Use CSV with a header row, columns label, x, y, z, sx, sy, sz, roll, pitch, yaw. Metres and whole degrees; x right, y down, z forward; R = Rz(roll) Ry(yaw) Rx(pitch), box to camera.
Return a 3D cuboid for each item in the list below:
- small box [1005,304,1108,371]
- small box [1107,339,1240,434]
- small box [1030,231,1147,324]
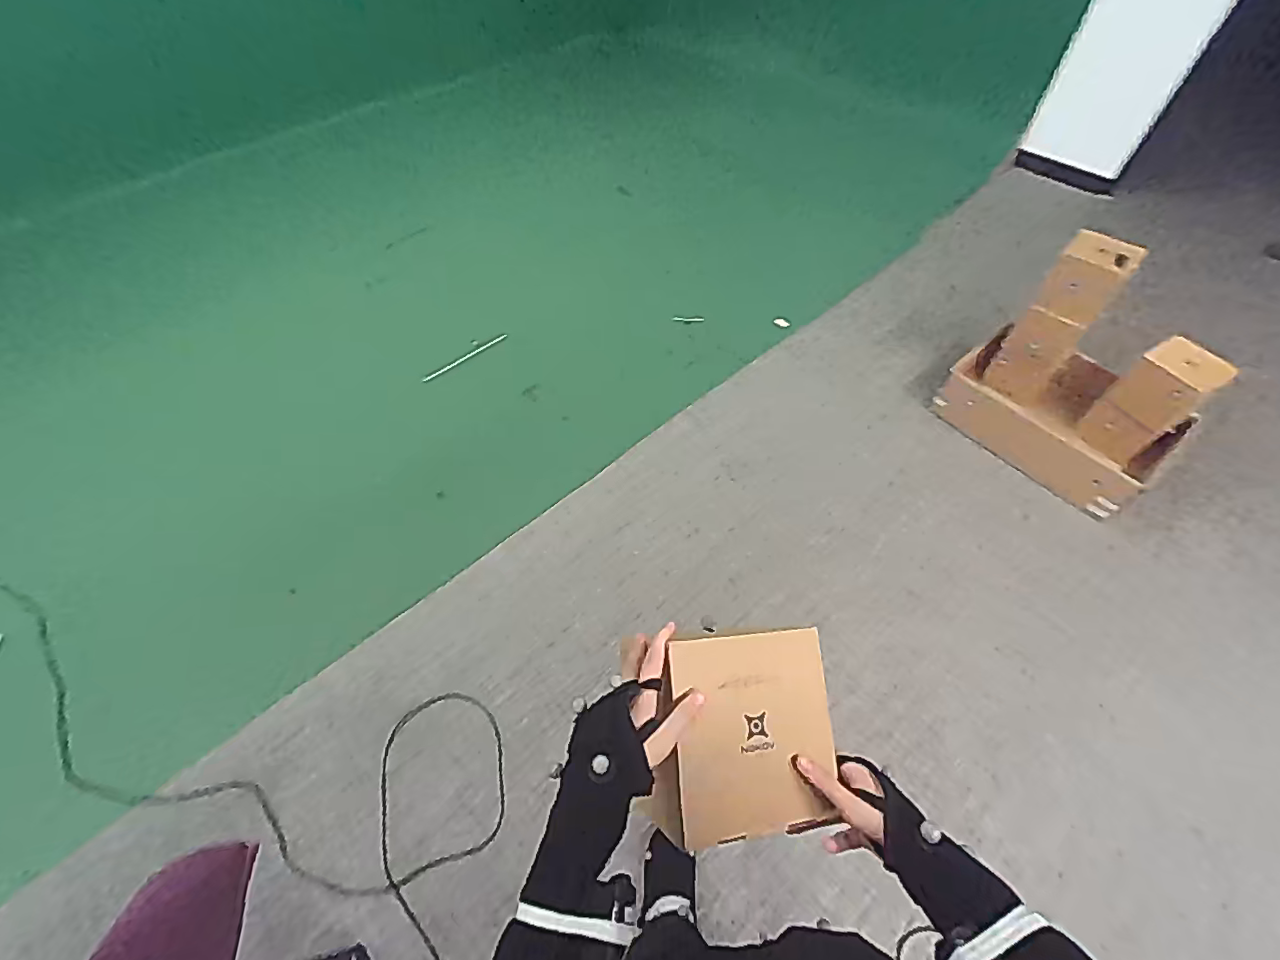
label,x,y,z,sx,sy,sz,roll,pitch,yaw
small box,1.296,-0.480,1.696,0.179,0.176,0.168,-38,62,-21
small box,1.508,-0.265,1.545,0.168,0.176,0.179,-26,59,-14
small box,1.289,-0.579,1.565,0.179,0.176,0.168,38,65,26
